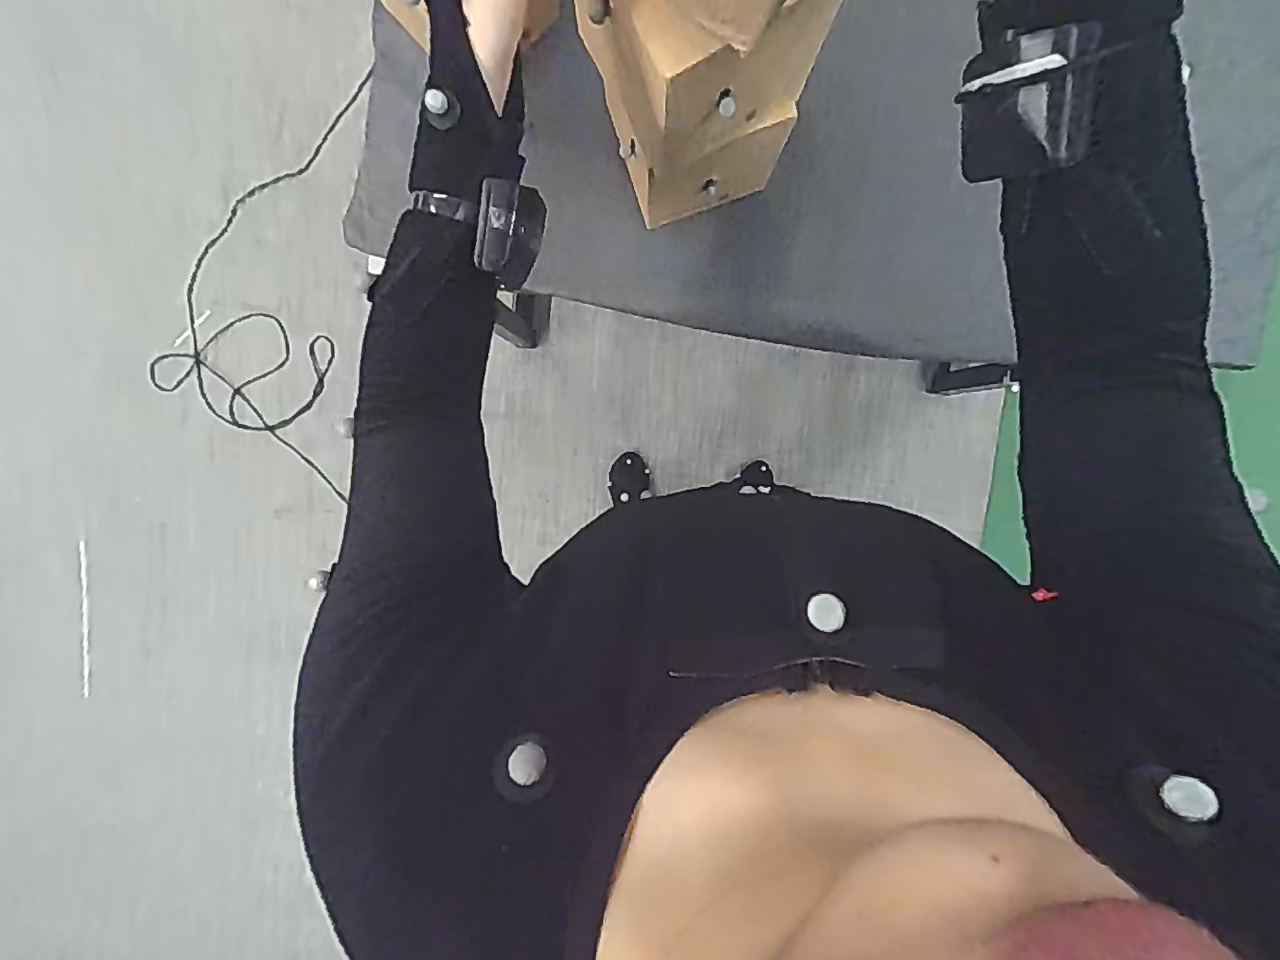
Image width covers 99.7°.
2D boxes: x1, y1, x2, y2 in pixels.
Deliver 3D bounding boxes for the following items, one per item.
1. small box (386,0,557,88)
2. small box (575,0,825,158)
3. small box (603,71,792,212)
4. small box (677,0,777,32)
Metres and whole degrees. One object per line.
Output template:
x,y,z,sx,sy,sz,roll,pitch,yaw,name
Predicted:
-0.221,-0.614,0.621,0.168,0.176,0.179,-43,93,5,small box
0.047,-0.419,0.469,0.168,0.176,0.179,-29,93,4,small box
0.057,-0.440,0.630,0.168,0.176,0.179,-18,94,2,small box
0.045,-0.388,0.269,0.179,0.176,0.168,32,100,-9,small box
